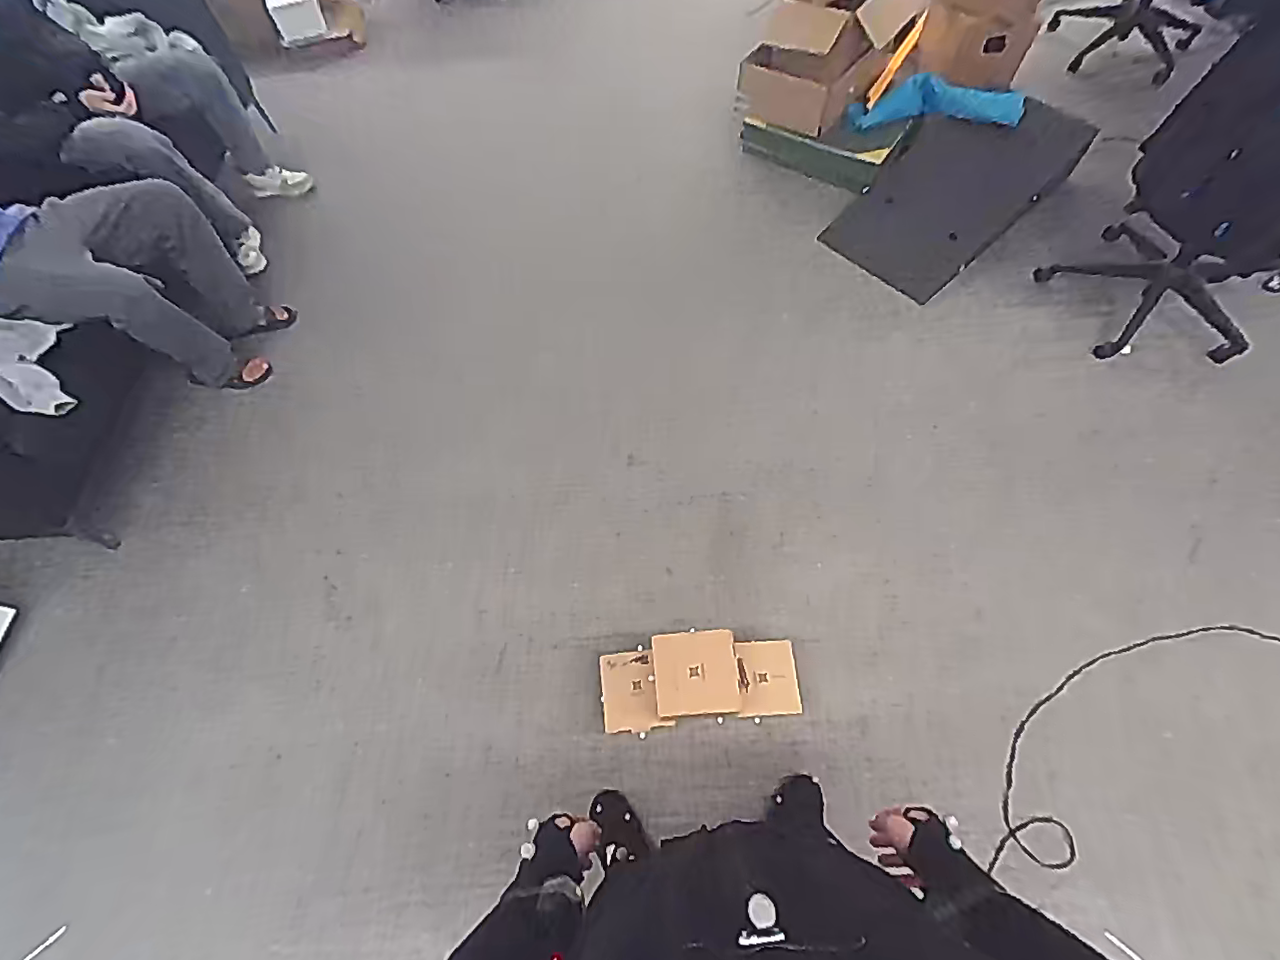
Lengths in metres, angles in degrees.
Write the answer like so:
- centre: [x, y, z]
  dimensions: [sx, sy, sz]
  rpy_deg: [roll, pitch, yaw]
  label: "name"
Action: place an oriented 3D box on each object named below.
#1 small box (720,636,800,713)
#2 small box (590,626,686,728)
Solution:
- centre: [0.289, 0.486, 1.344]
  dimensions: [0.179, 0.176, 0.168]
  rpy_deg: [0, 66, 5]
  label: "small box"
- centre: [0.001, 0.499, 1.354]
  dimensions: [0.179, 0.176, 0.168]
  rpy_deg: [-34, 64, -11]
  label: "small box"
